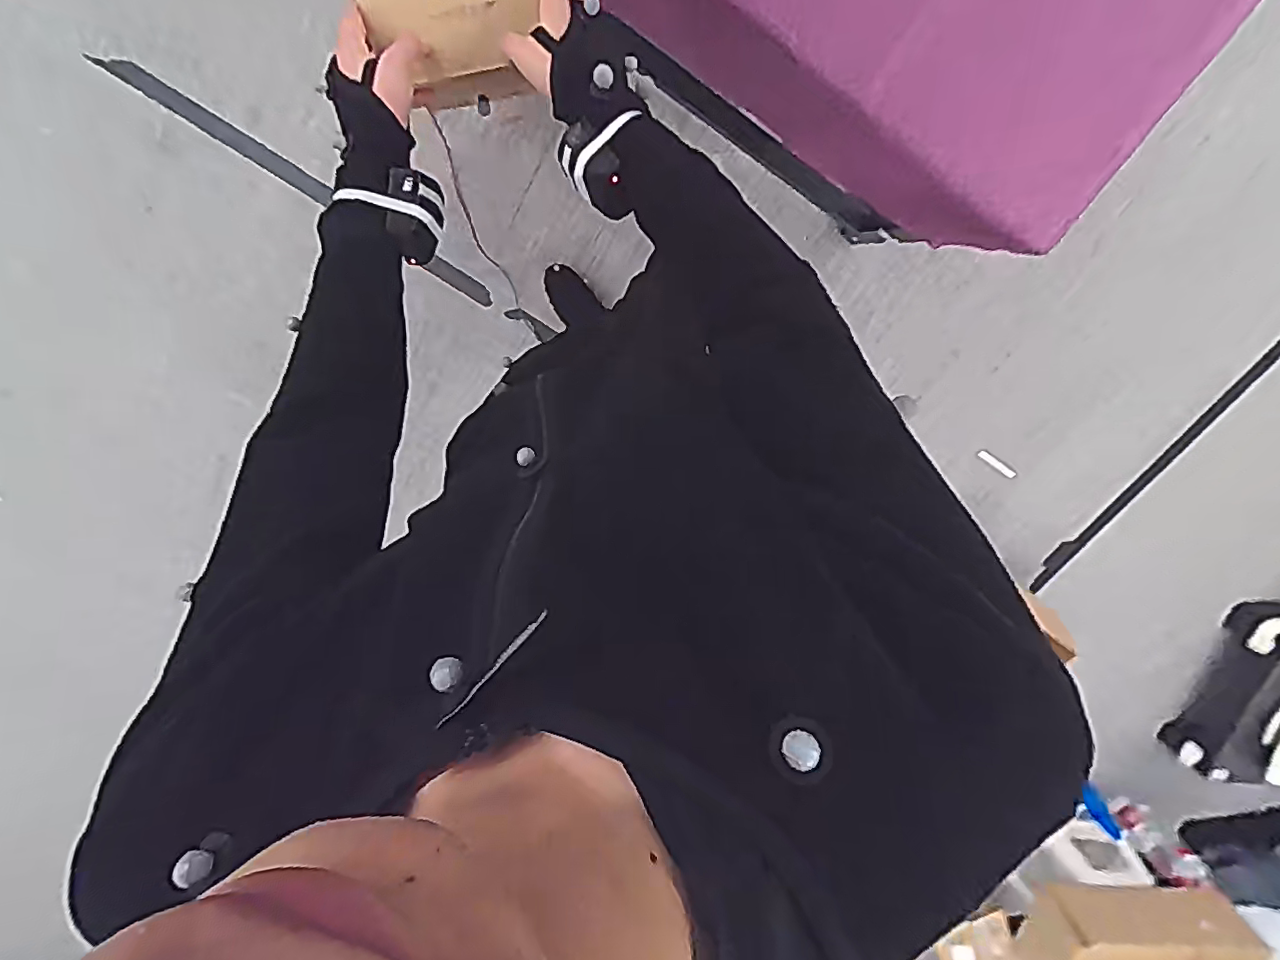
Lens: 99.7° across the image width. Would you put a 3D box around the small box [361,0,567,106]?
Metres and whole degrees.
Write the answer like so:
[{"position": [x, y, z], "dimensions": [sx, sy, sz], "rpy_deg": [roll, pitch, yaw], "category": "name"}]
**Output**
[{"position": [-0.172, -0.492, 0.526], "dimensions": [0.168, 0.176, 0.179], "rpy_deg": [-9, 118, 2], "category": "small box"}]
